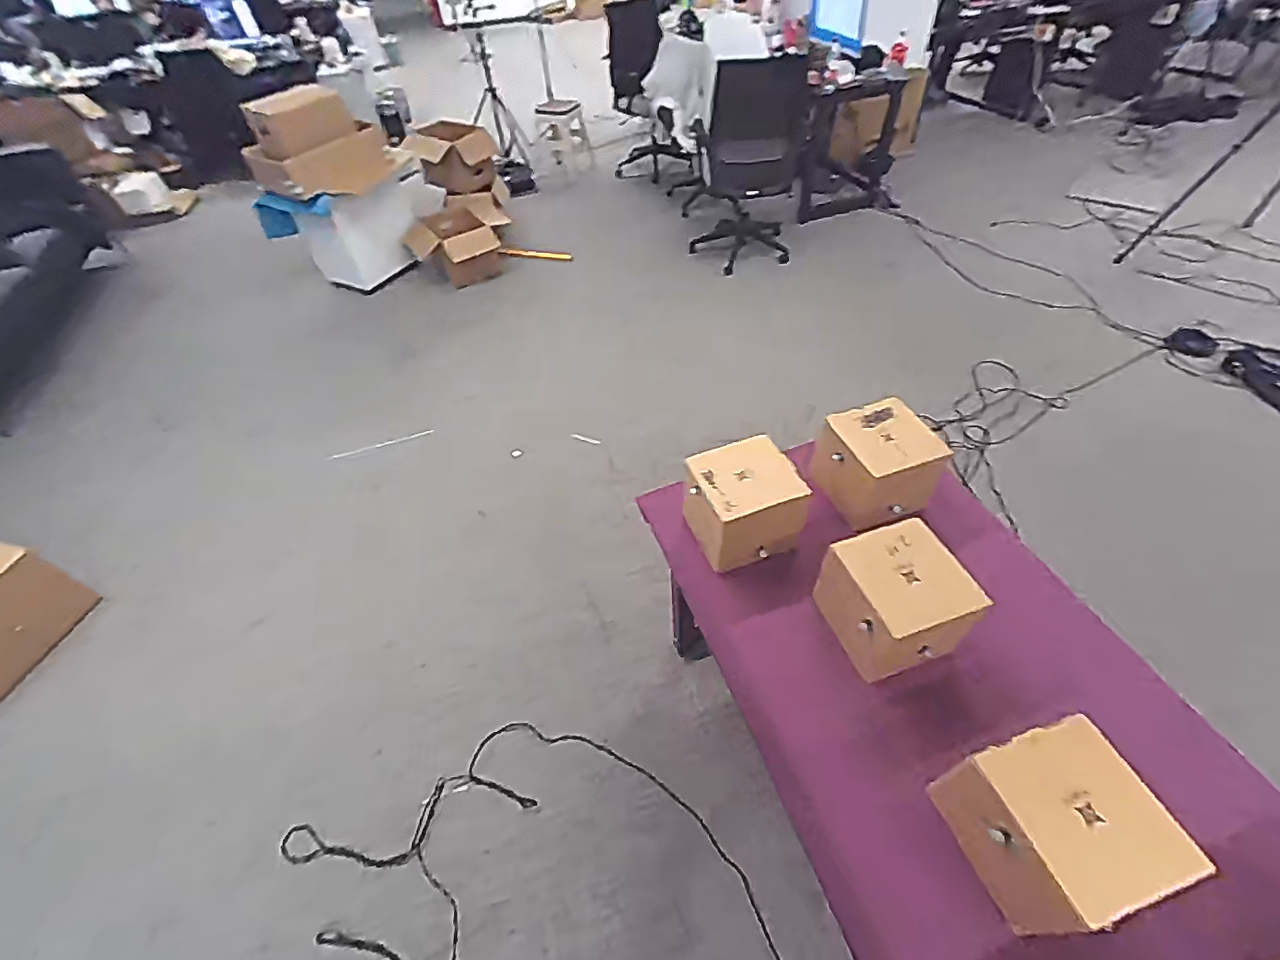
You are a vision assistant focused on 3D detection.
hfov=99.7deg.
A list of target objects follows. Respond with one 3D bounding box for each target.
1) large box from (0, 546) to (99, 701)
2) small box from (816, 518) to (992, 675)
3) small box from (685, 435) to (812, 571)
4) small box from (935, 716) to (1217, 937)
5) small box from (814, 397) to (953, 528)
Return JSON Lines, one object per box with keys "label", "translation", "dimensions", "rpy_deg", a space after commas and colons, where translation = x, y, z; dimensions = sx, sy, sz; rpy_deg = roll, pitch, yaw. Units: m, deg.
{"label": "large box", "translation": [-2.146, 0.451, 1.749], "dimensions": [0.320, 0.320, 0.408], "rpy_deg": [7, 50, 12]}
{"label": "small box", "translation": [0.413, 0.196, 0.881], "dimensions": [0.168, 0.176, 0.179], "rpy_deg": [-15, 49, -10]}
{"label": "small box", "translation": [0.195, 0.046, 1.030], "dimensions": [0.179, 0.176, 0.168], "rpy_deg": [-17, 49, -12]}
{"label": "small box", "translation": [0.511, 0.429, 0.669], "dimensions": [0.168, 0.176, 0.179], "rpy_deg": [-16, 48, -9]}
{"label": "small box", "translation": [0.470, -0.034, 1.080], "dimensions": [0.168, 0.176, 0.179], "rpy_deg": [-17, 50, -9]}
